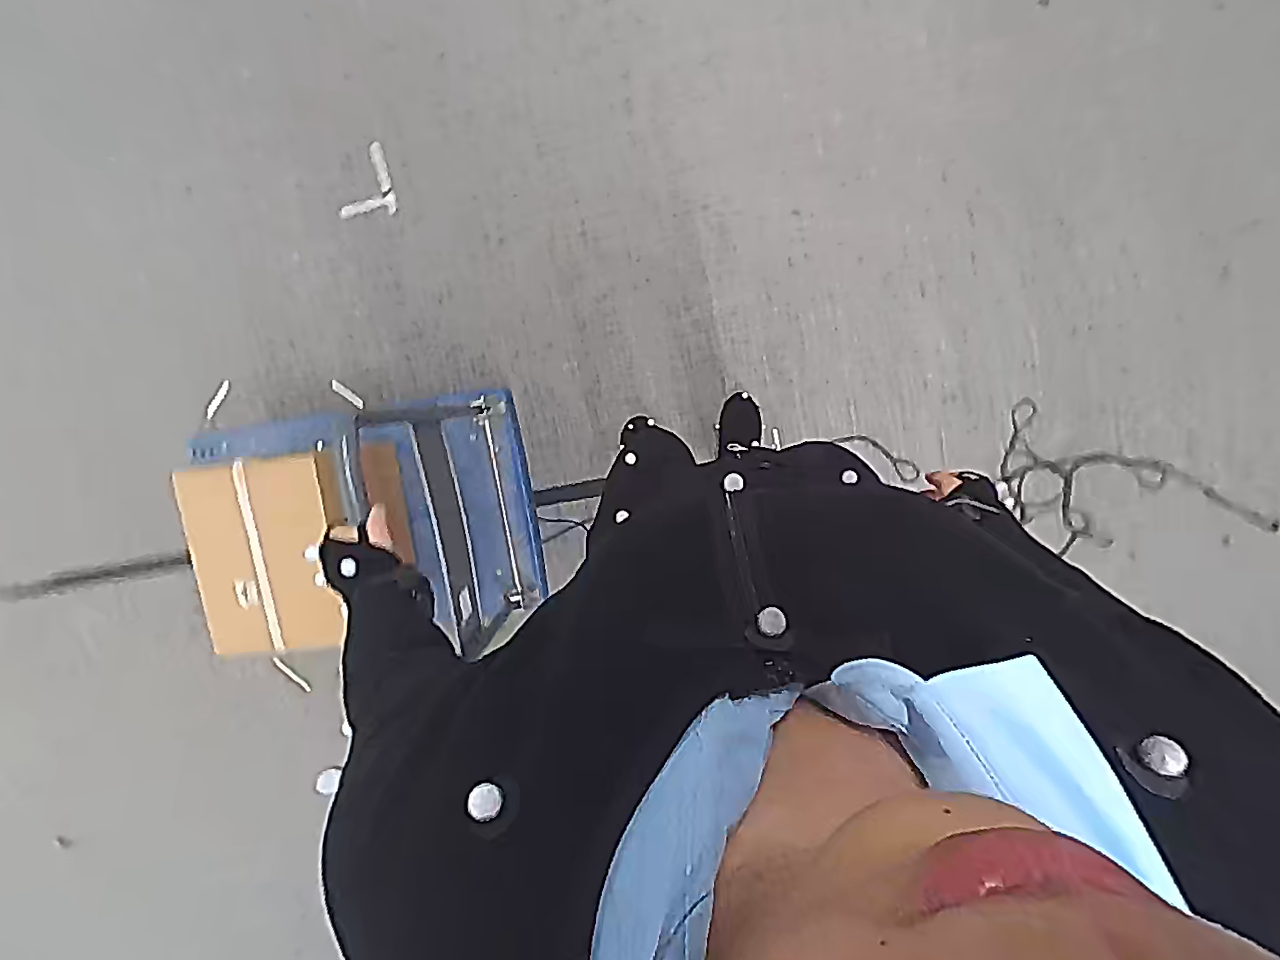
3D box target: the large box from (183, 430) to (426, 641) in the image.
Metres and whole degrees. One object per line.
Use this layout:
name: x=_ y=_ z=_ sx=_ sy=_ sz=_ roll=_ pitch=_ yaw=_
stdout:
large box: x=-0.743 y=0.109 z=1.260 sx=0.320 sy=0.320 sz=0.408 roll=-5 pitch=100 yaw=6
